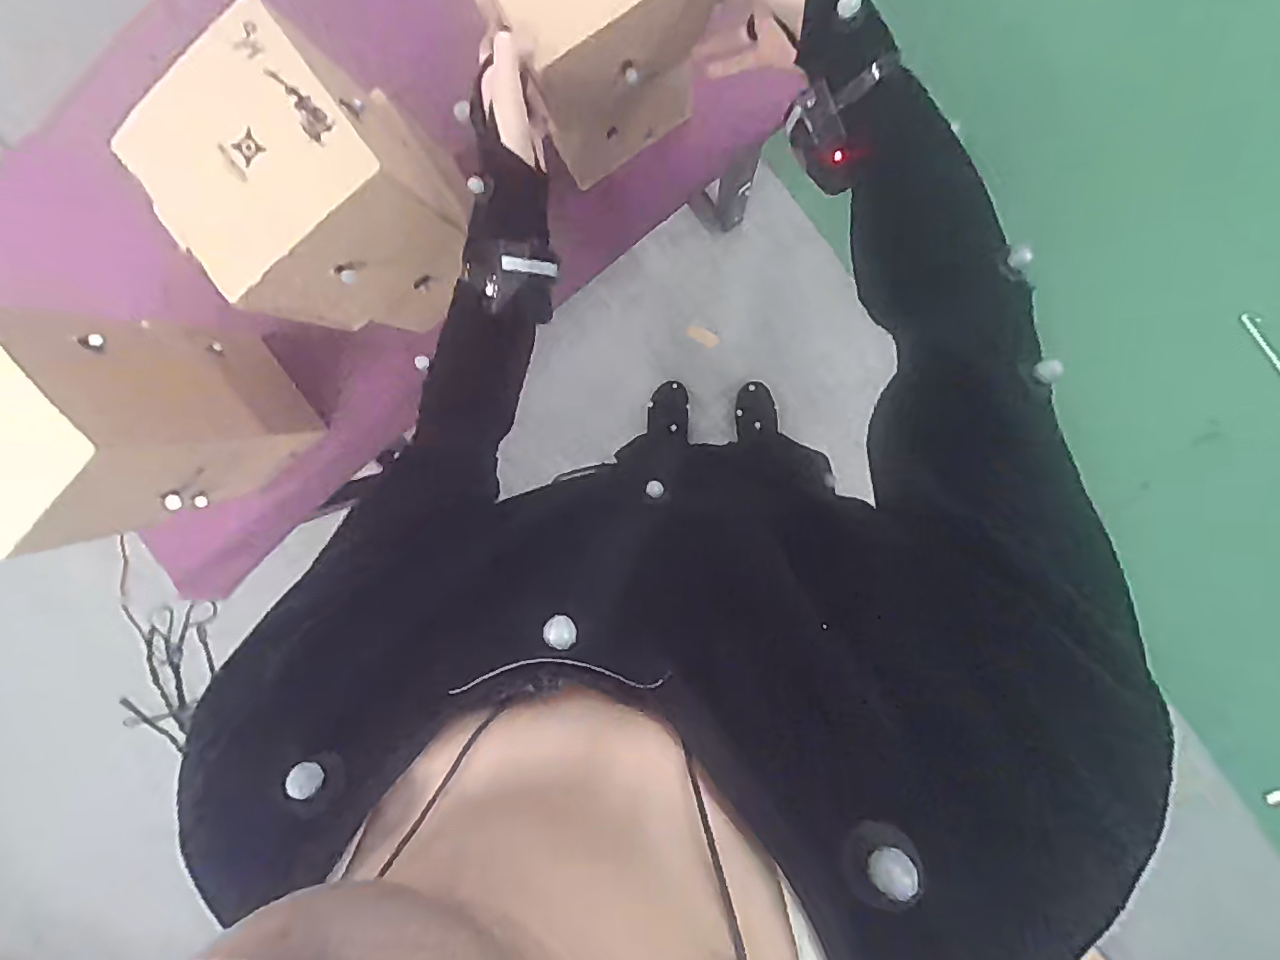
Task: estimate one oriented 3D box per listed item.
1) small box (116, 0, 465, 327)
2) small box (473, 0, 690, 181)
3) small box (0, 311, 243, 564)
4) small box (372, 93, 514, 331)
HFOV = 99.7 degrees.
[{"bbox_3d":[-0.301,-0.264,0.505,0.179,0.176,0.168,-35,94,10],"label":"small box"},{"bbox_3d":[-0.053,-0.475,0.614,0.168,0.176,0.179,-31,95,9],"label":"small box"},{"bbox_3d":[-0.583,-0.046,0.566,0.168,0.176,0.179,-41,92,10],"label":"small box"},{"bbox_3d":[-0.286,-0.305,0.663,0.179,0.176,0.168,-35,94,9],"label":"small box"}]
